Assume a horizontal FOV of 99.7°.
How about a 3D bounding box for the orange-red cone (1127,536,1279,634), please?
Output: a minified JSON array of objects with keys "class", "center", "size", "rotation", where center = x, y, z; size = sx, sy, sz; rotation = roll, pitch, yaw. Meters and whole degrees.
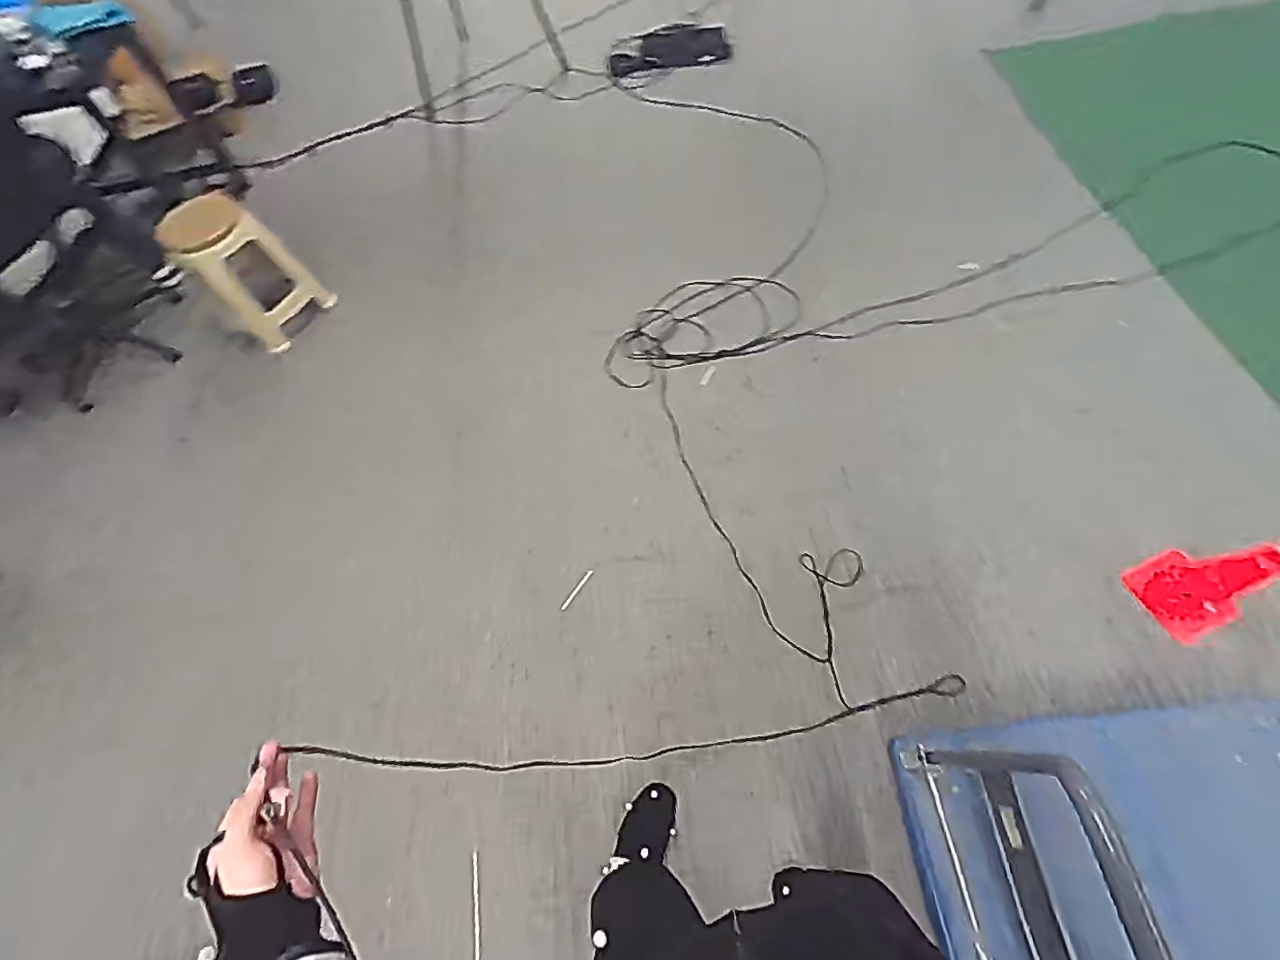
[{"class":"orange-red cone","center":[1.412,0.205,1.279],"size":[0.198,0.360,0.199],"rotation":[-23,61,-6]}]
